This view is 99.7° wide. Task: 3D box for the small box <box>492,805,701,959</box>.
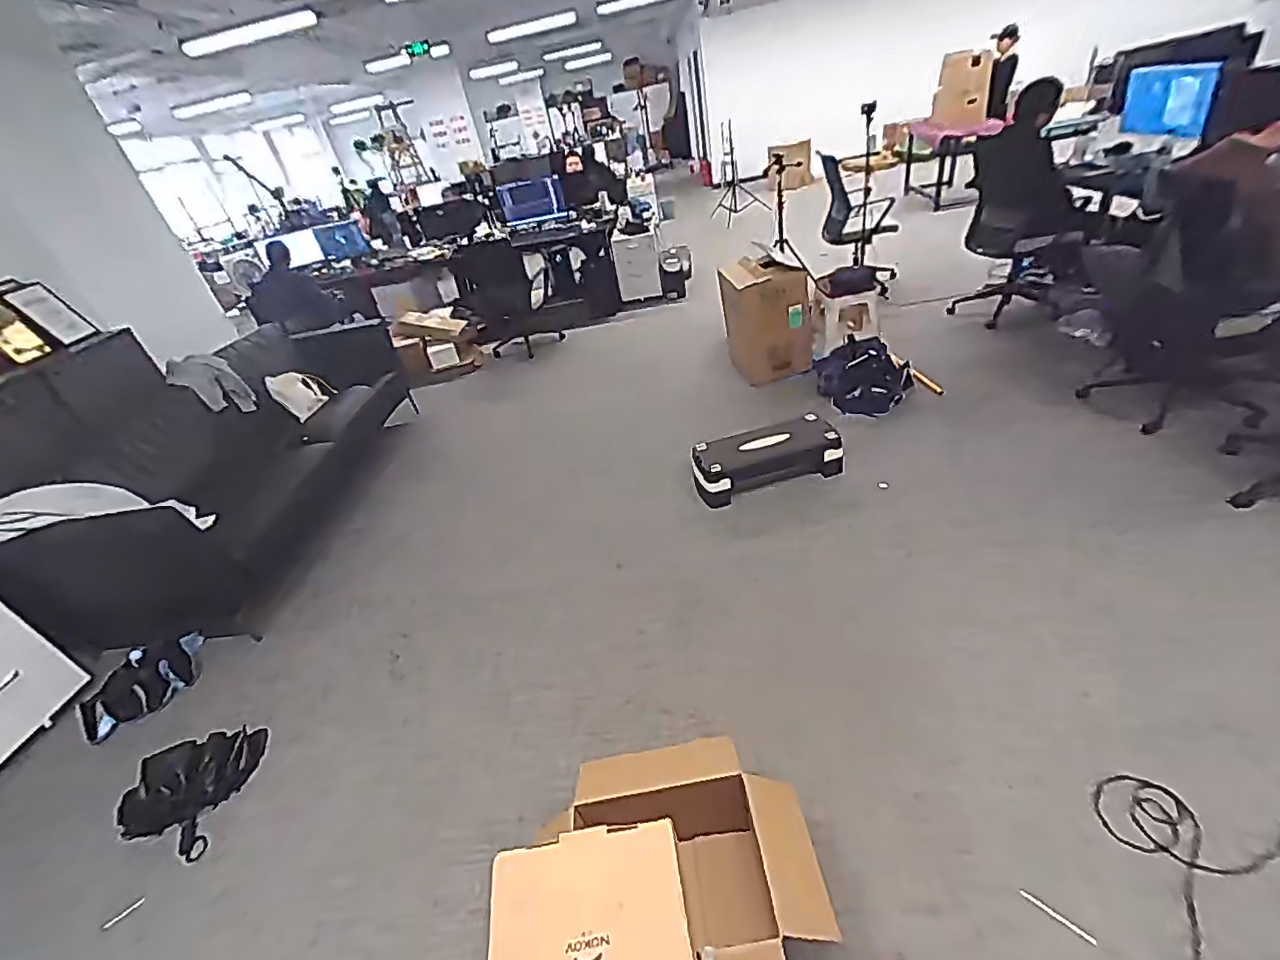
[{"bbox_3d":[-0.031,0.433,0.494,0.168,0.176,0.179,-11,43,-1],"label":"small box"}]
